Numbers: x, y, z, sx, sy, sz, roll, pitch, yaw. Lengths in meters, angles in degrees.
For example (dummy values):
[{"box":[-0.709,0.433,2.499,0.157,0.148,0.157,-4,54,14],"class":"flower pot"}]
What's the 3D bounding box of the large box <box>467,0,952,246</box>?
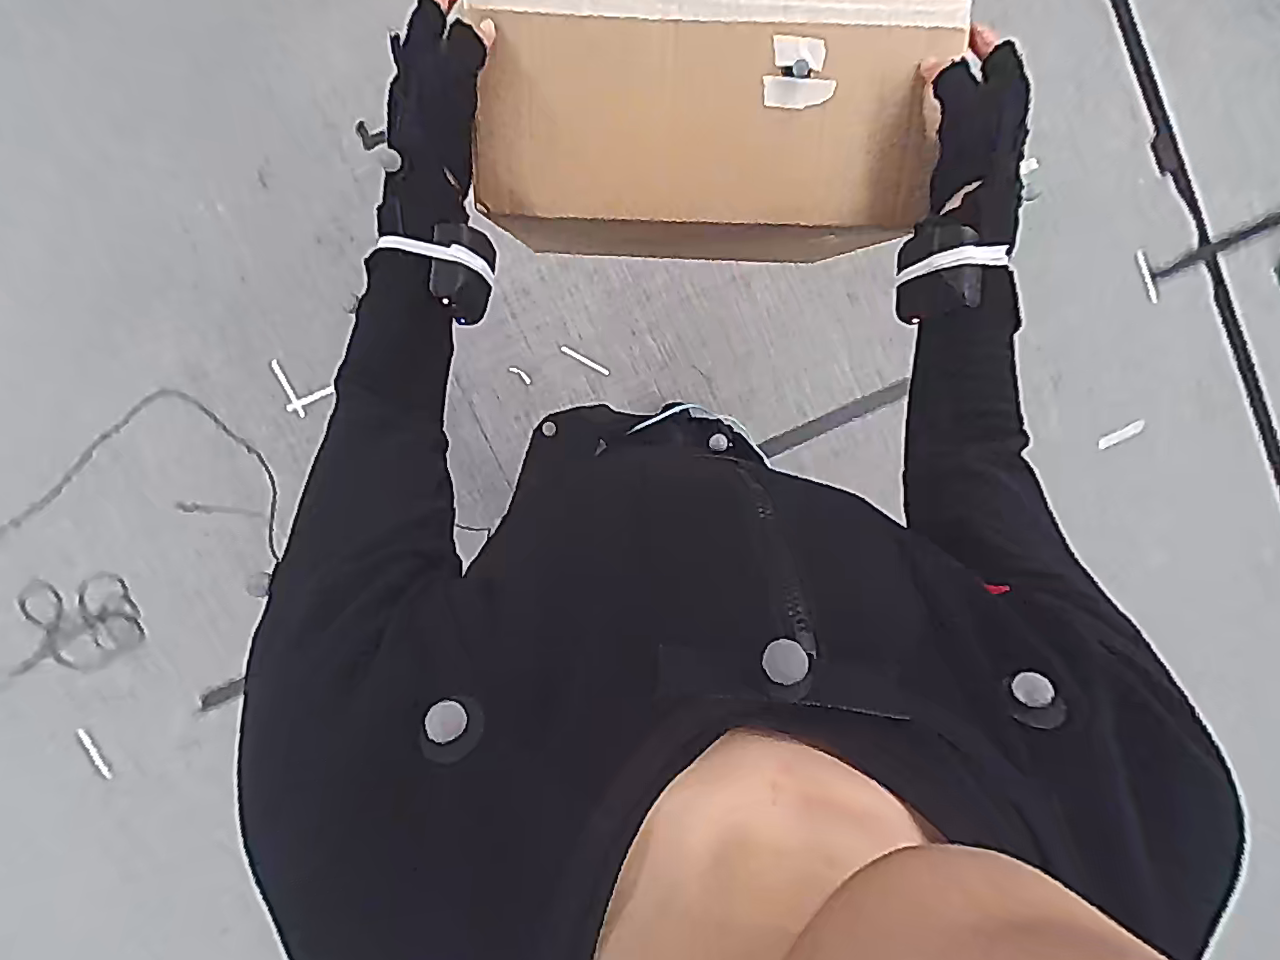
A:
[{"box":[0.050,-0.435,0.577,0.408,0.320,0.320,0,108,-3],"class":"large box"}]
